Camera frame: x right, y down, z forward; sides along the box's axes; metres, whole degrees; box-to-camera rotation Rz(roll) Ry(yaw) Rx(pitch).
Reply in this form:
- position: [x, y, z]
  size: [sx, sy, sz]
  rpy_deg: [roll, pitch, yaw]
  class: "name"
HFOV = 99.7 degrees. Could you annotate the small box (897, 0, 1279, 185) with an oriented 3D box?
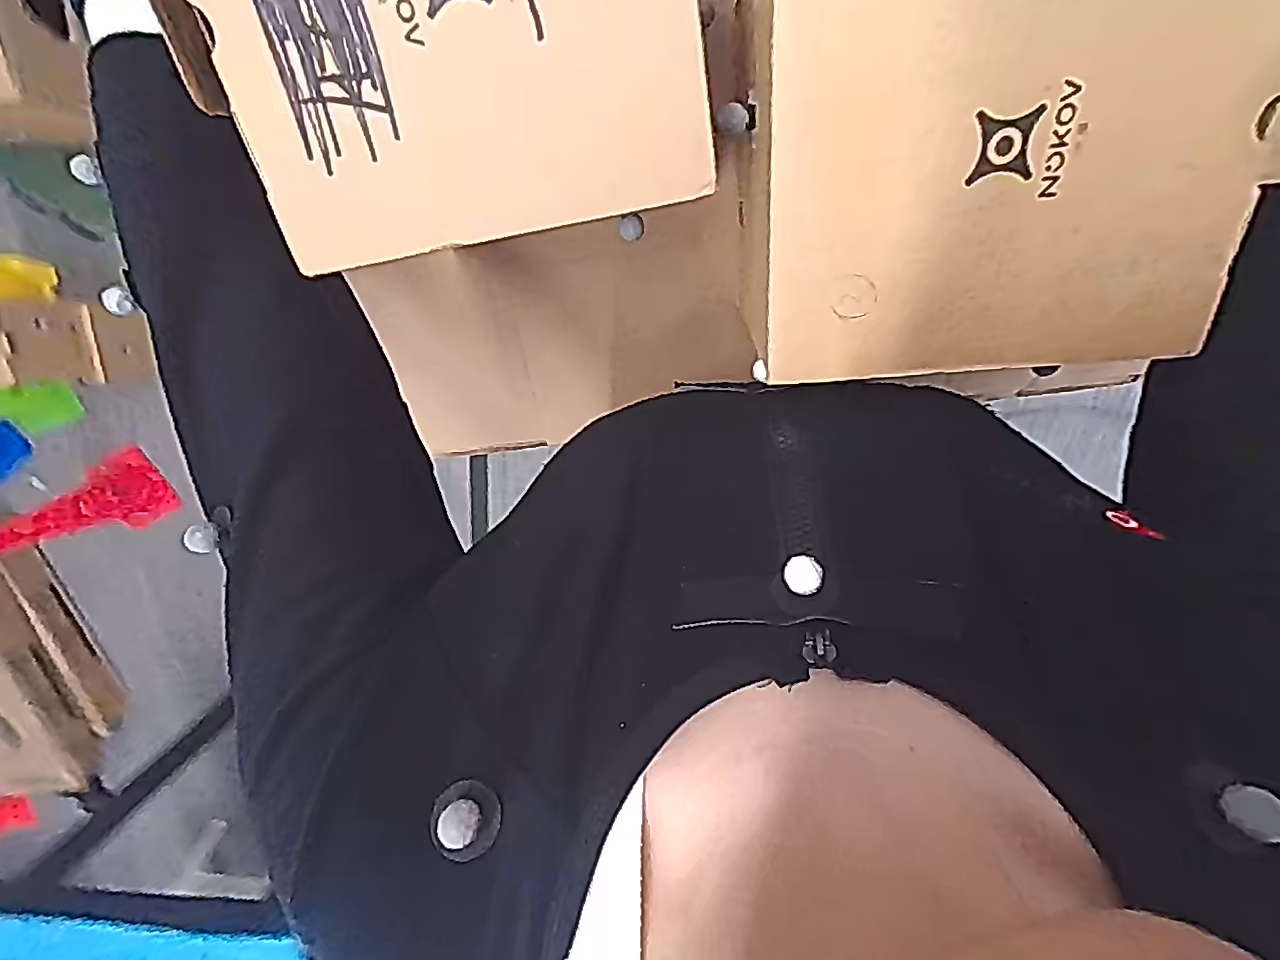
- position: [0.237, -0.217, 0.205]
  size: [0.179, 0.176, 0.168]
  rpy_deg: [10, 125, -2]
  class: "small box"
